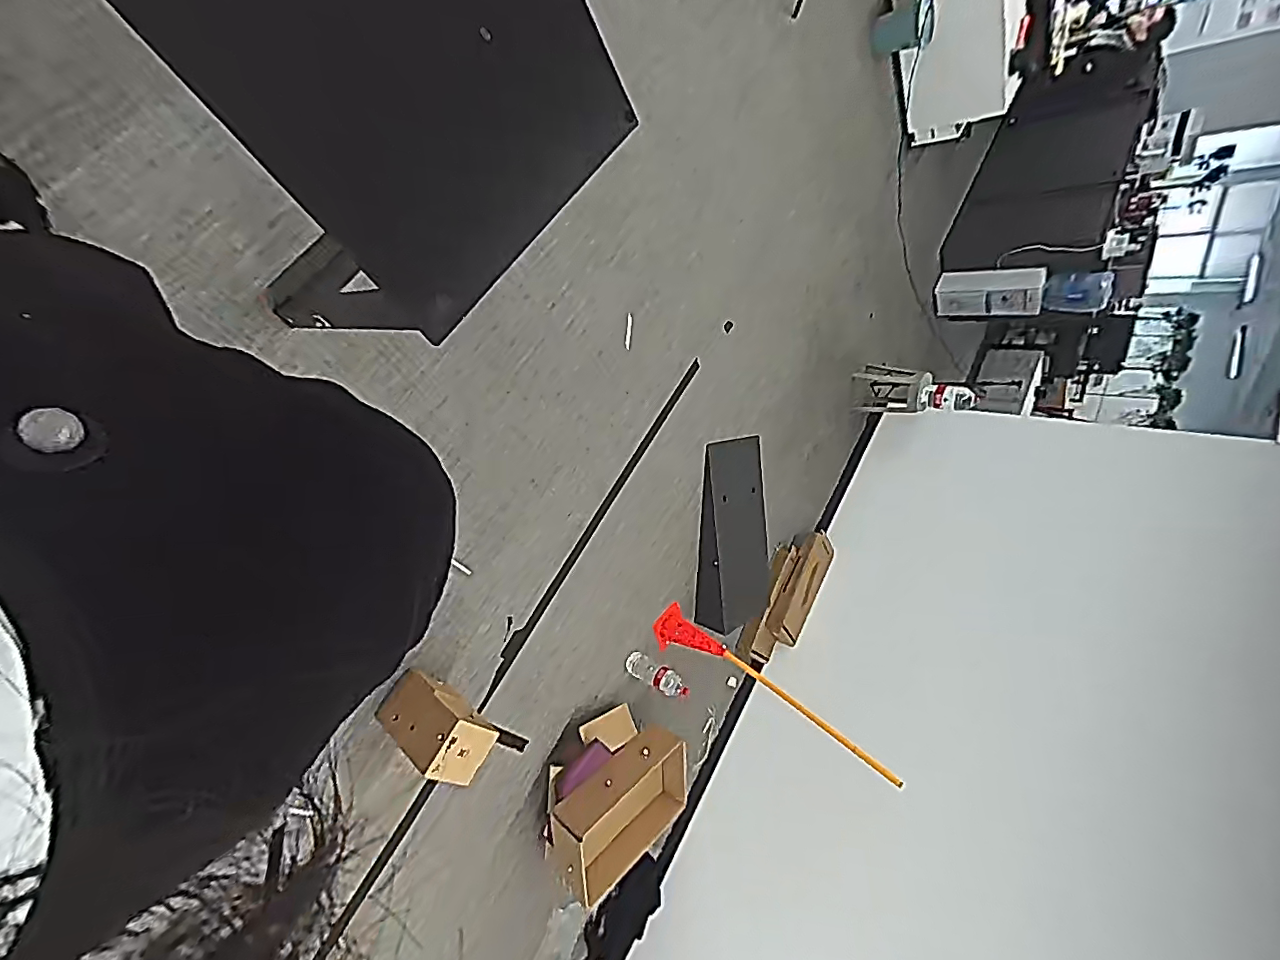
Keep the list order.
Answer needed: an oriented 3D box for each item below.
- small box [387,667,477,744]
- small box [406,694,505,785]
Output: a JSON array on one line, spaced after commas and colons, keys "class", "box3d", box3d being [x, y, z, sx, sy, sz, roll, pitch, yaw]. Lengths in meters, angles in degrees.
[{"class": "small box", "box3d": [-0.654, 0.716, 1.681, 0.179, 0.176, 0.168, -58, 137, -19]}, {"class": "small box", "box3d": [-0.537, 0.749, 1.571, 0.168, 0.176, 0.179, -58, 137, -17]}]
